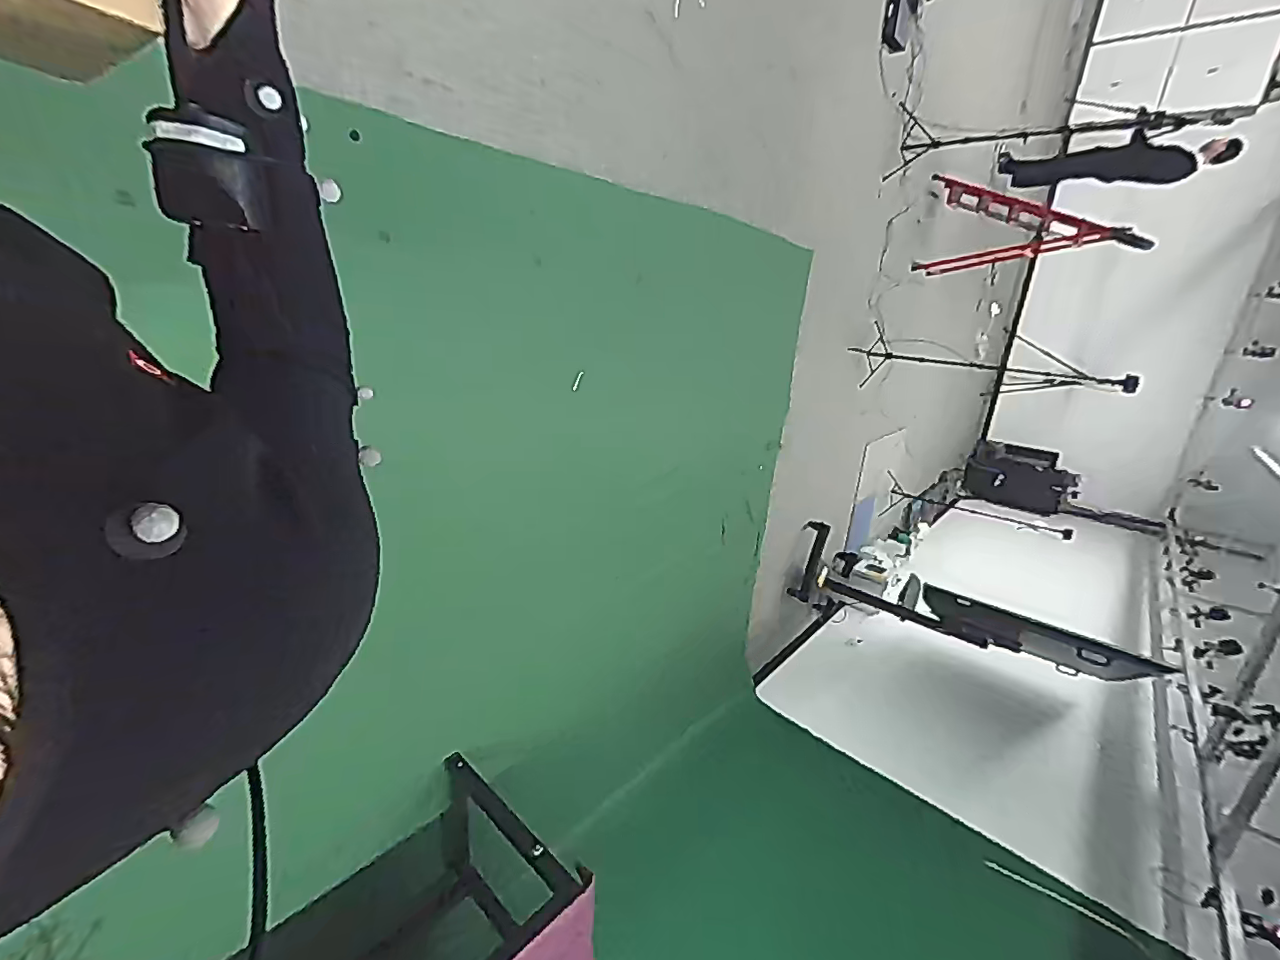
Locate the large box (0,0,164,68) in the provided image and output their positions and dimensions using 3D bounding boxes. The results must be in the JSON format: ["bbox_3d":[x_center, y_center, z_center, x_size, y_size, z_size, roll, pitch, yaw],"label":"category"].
[{"bbox_3d":[-0.508,-0.448,0.223,0.408,0.320,0.320,-11,118,-50],"label":"large box"}]
